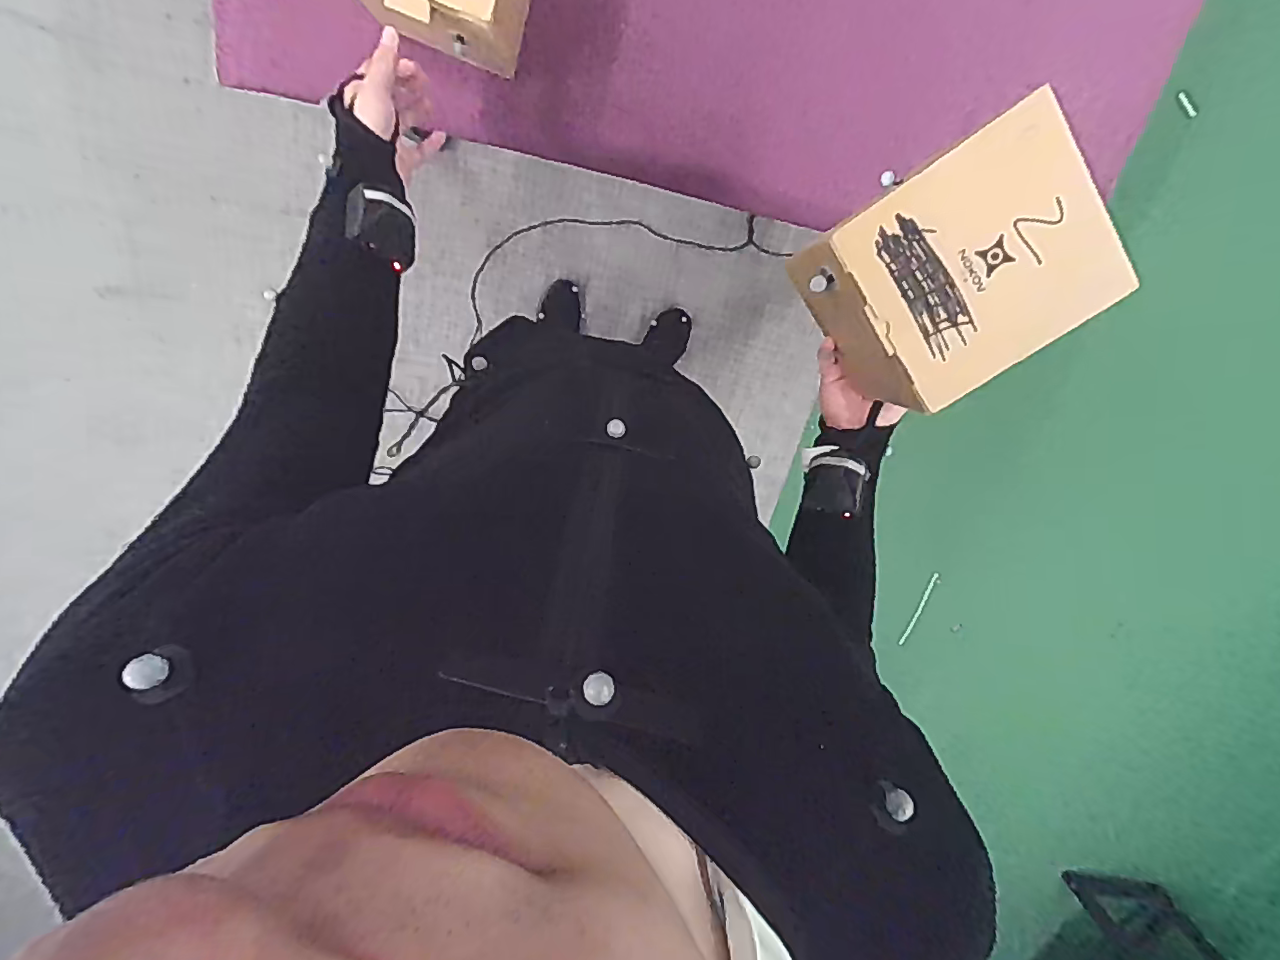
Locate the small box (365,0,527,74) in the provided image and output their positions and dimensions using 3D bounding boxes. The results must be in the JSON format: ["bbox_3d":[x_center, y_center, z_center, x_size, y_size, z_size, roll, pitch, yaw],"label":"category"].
[{"bbox_3d":[-0.208,-0.579,0.573,0.168,0.176,0.179,17,108,-11],"label":"small box"}]
